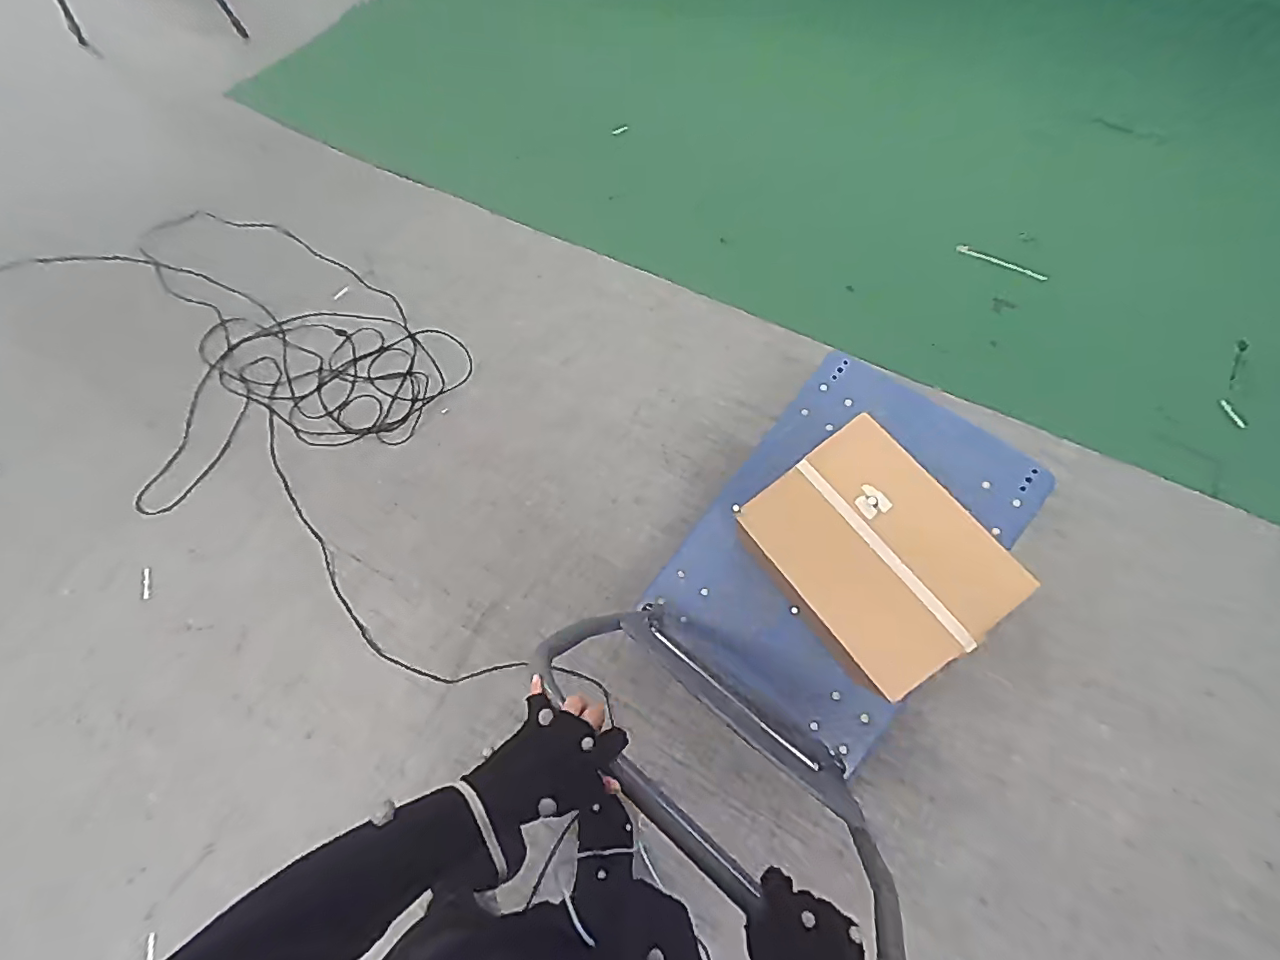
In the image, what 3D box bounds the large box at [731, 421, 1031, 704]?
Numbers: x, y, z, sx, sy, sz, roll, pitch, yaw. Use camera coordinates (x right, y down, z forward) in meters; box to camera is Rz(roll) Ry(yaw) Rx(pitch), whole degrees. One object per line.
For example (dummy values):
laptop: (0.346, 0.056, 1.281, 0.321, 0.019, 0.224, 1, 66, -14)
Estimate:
large box: (0.434, 0.165, 1.078, 0.320, 0.320, 0.408, -37, 71, 0)
